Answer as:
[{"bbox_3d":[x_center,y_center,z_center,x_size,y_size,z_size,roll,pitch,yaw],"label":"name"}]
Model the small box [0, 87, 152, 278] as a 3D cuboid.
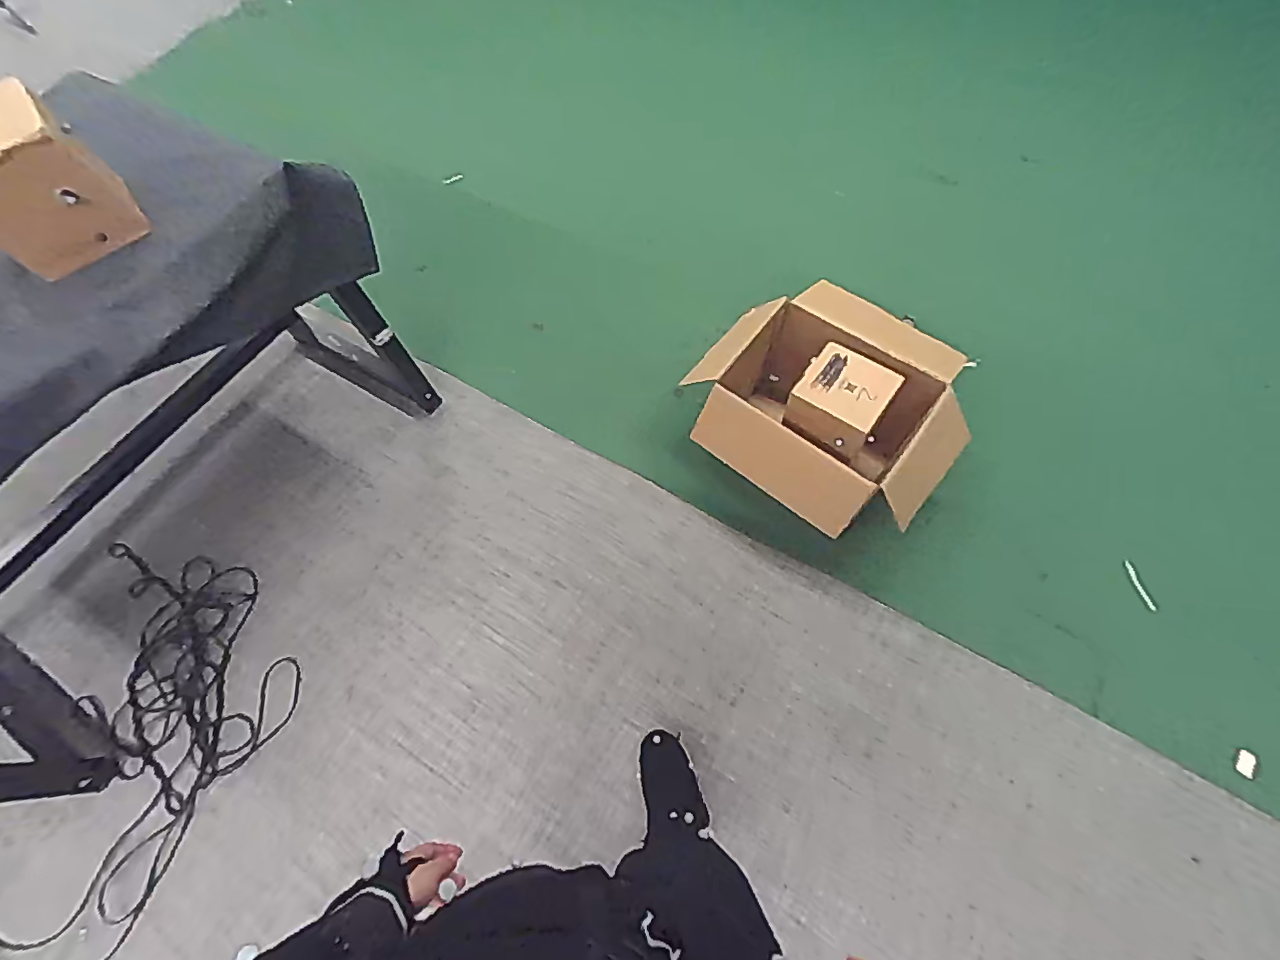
[{"bbox_3d":[-0.895,-0.434,0.811,0.168,0.176,0.179,-38,67,-15],"label":"small box"}]
